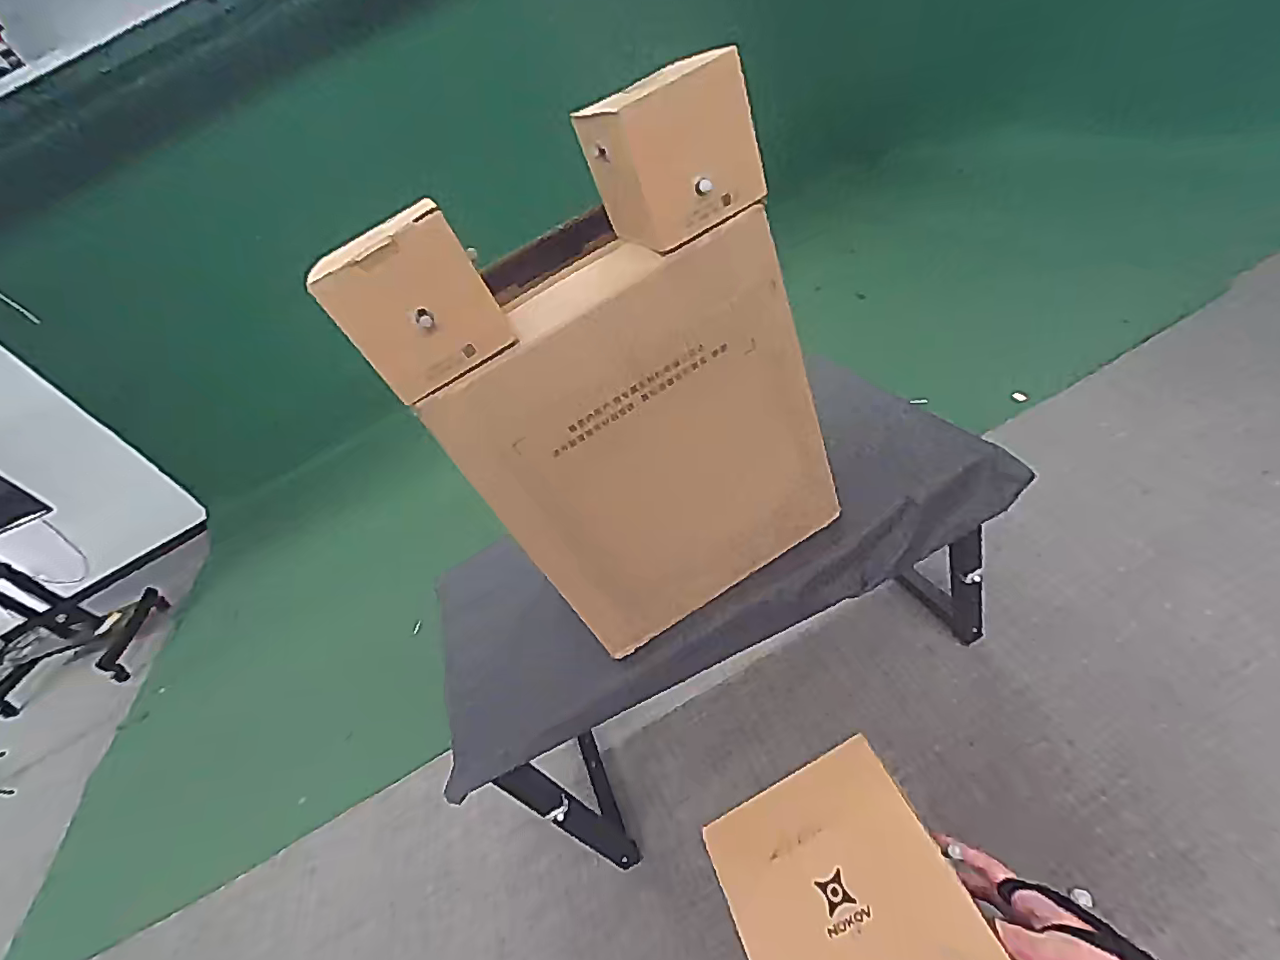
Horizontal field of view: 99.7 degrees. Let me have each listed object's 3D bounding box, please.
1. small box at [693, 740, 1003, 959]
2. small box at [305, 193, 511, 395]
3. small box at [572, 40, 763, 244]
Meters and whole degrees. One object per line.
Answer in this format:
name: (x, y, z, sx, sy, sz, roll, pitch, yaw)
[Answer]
small box: (0.176, 0.358, 0.453, 0.168, 0.176, 0.179, -34, 41, 5)
small box: (-0.285, -0.233, 0.689, 0.168, 0.176, 0.179, -32, 38, -3)
small box: (0.037, -0.434, 0.712, 0.168, 0.176, 0.179, -31, 39, -5)
